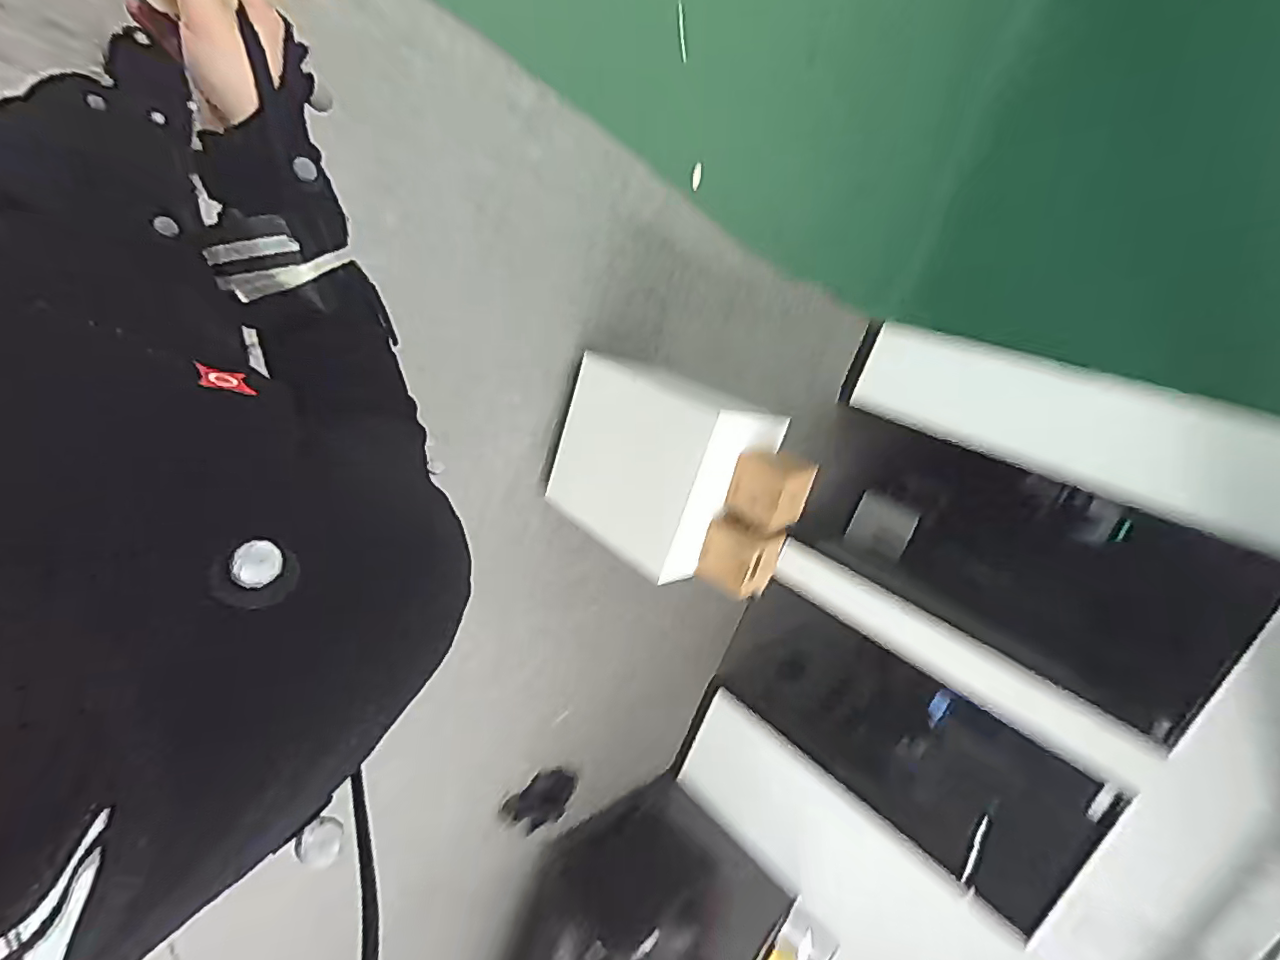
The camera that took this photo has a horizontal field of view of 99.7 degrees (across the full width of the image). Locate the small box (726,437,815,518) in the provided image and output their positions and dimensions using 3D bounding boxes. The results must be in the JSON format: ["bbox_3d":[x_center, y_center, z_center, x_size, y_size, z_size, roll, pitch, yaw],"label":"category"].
[{"bbox_3d":[0.378,-0.012,1.591,0.179,0.176,0.168,-16,128,-44],"label":"small box"}]
